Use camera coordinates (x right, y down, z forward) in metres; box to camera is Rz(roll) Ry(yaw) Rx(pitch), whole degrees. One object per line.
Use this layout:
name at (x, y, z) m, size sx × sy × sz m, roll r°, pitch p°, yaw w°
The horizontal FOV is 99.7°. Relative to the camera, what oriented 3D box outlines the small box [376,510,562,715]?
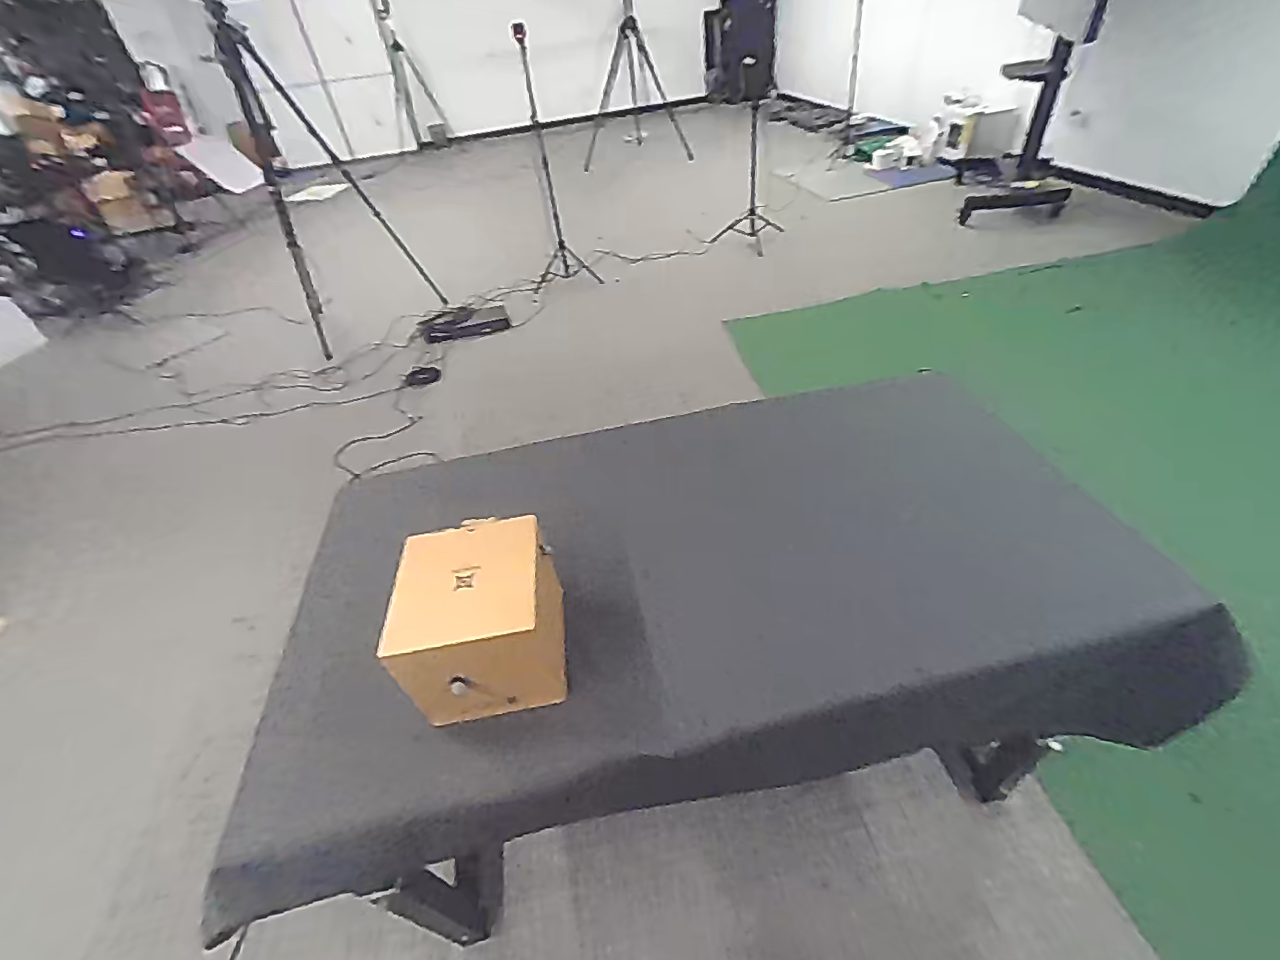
small box at (-0.195, 0.168, 0.669) m, size 0.168 × 0.176 × 0.179 m, roll -11°, pitch 40°, yaw -3°
